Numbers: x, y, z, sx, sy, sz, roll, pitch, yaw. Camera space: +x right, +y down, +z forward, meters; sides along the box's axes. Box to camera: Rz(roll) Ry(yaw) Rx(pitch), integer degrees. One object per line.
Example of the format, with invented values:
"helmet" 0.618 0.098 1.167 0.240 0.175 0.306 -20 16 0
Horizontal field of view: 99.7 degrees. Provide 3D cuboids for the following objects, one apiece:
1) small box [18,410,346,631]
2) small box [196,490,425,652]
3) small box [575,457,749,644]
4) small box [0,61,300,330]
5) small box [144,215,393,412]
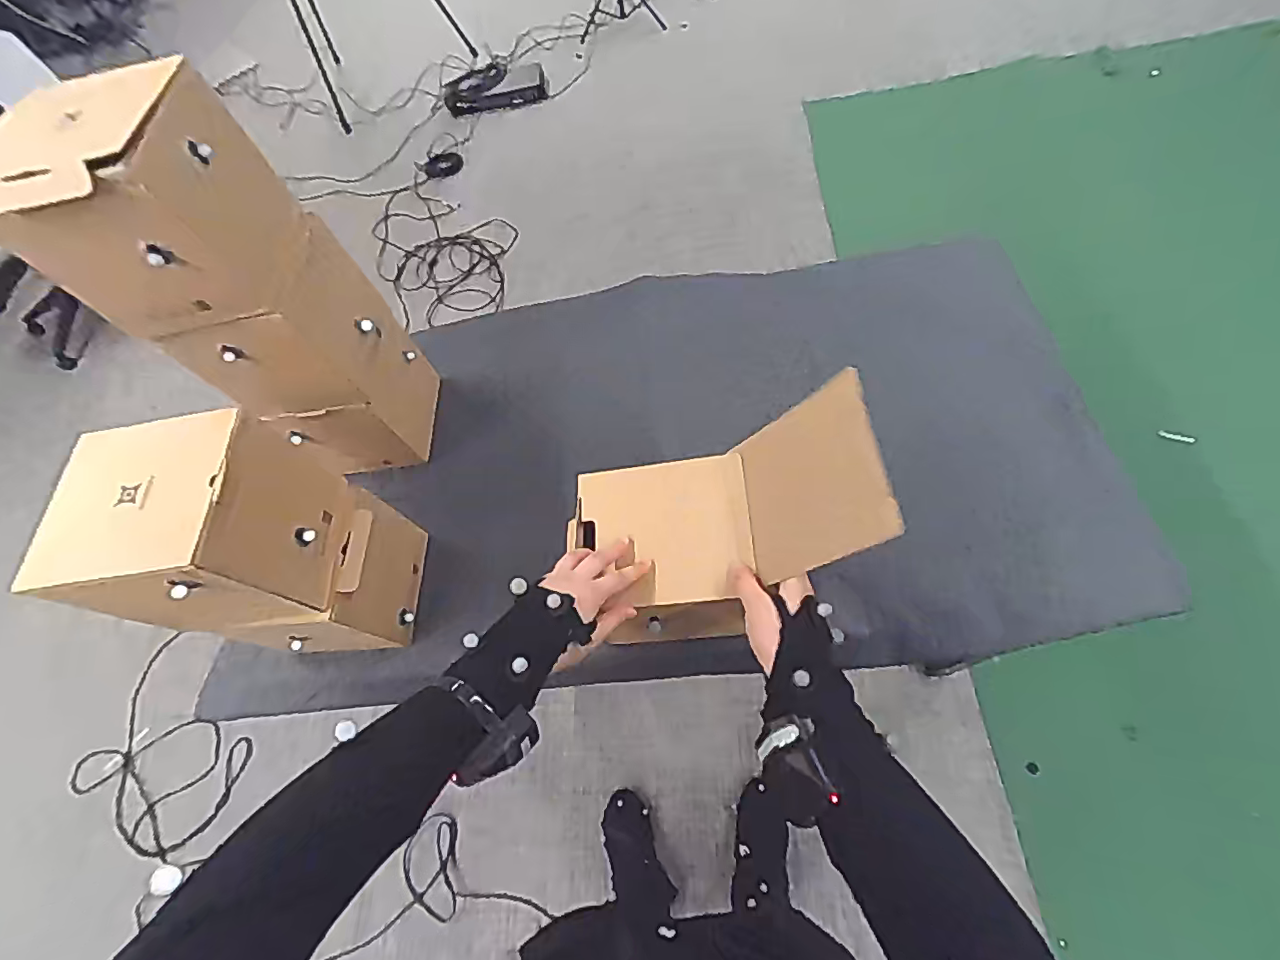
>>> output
"small box" -0.448 0.052 0.566 0.179 0.176 0.168 -9 62 5
"small box" -0.408 0.126 0.706 0.179 0.176 0.168 -6 63 8
"small box" 0.031 0.093 0.646 0.179 0.176 0.168 -7 61 8
"small box" -0.486 -0.273 0.550 0.168 0.176 0.179 -9 61 4
"small box" -0.454 -0.202 0.693 0.179 0.176 0.168 -6 64 6
